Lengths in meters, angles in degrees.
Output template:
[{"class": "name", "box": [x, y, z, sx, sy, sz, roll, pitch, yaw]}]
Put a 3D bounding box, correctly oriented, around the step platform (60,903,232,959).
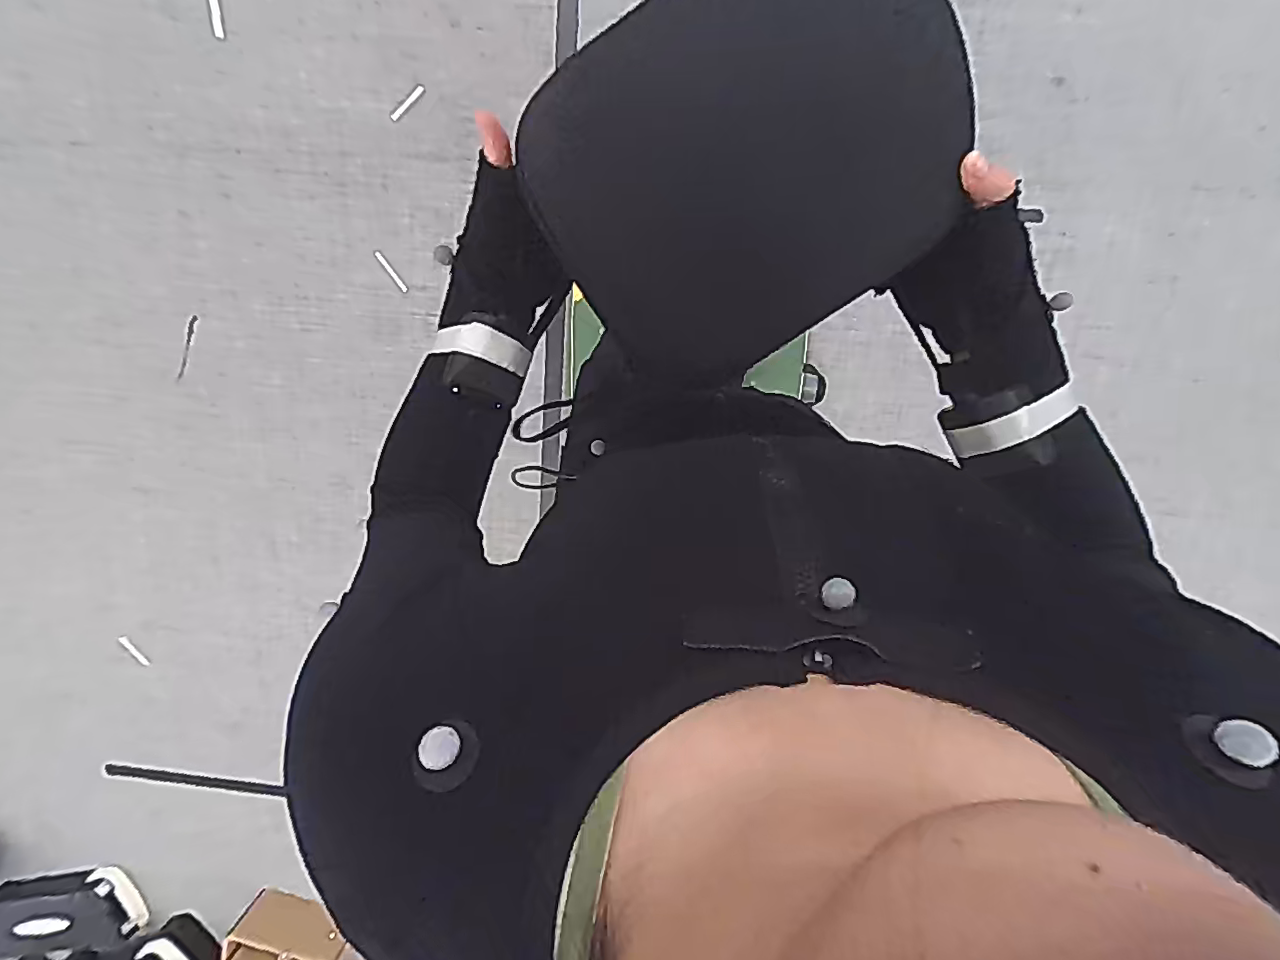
[{"class": "step platform", "box": [-2.011, 1.944, 2.144, 0.684, 0.204, 0.286, -24, 103, 9]}]
